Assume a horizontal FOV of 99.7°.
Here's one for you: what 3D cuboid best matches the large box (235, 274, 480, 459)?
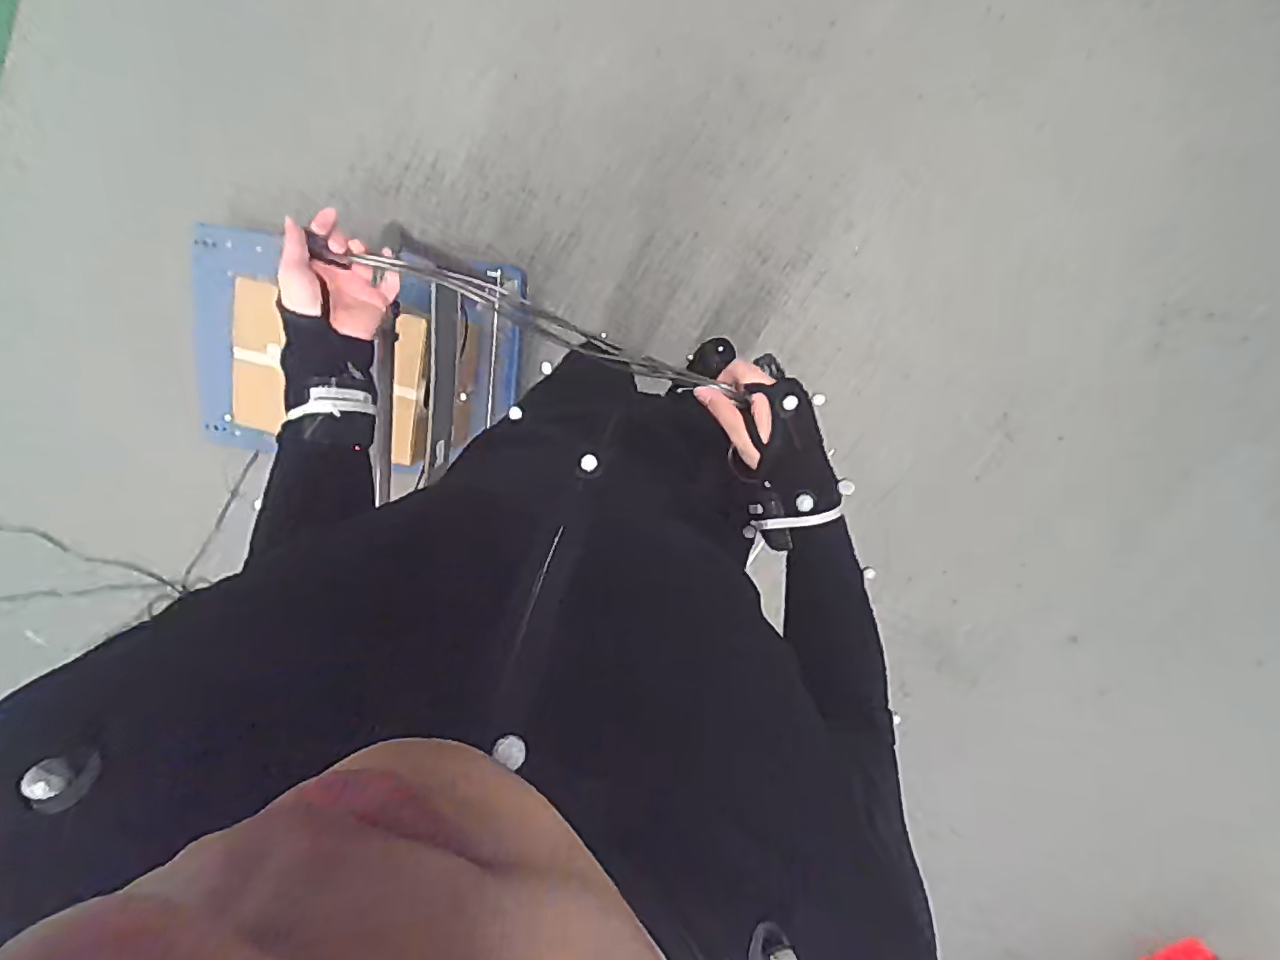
[{"bbox_3d":[-0.630,-0.266,1.261,0.408,0.320,0.320,14,105,1],"label":"large box"}]
